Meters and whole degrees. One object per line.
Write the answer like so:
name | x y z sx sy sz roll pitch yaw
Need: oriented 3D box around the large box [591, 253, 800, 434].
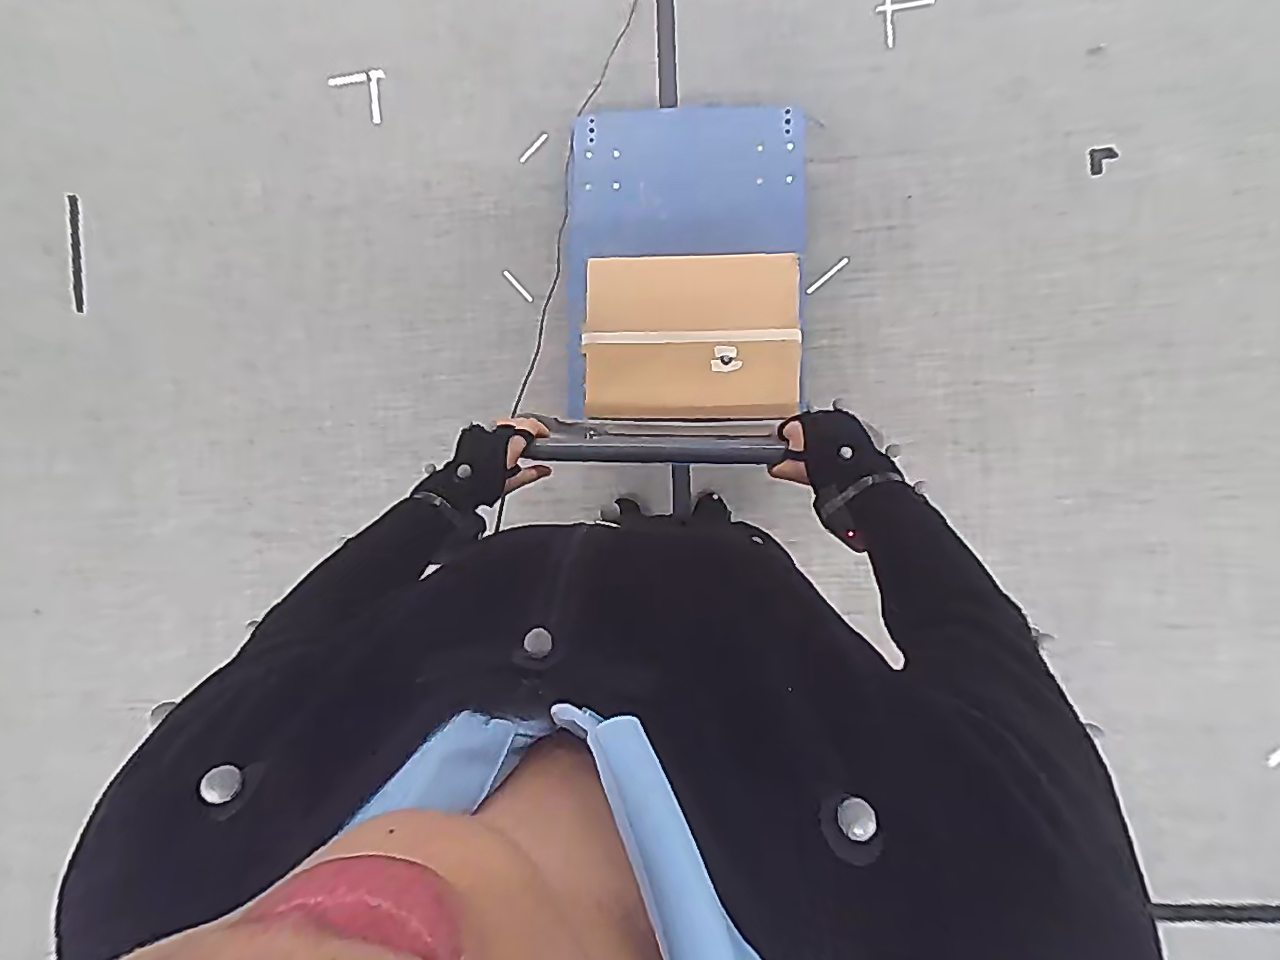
large box | 0.113 -0.274 1.189 0.408 0.320 0.320 0 90 4
